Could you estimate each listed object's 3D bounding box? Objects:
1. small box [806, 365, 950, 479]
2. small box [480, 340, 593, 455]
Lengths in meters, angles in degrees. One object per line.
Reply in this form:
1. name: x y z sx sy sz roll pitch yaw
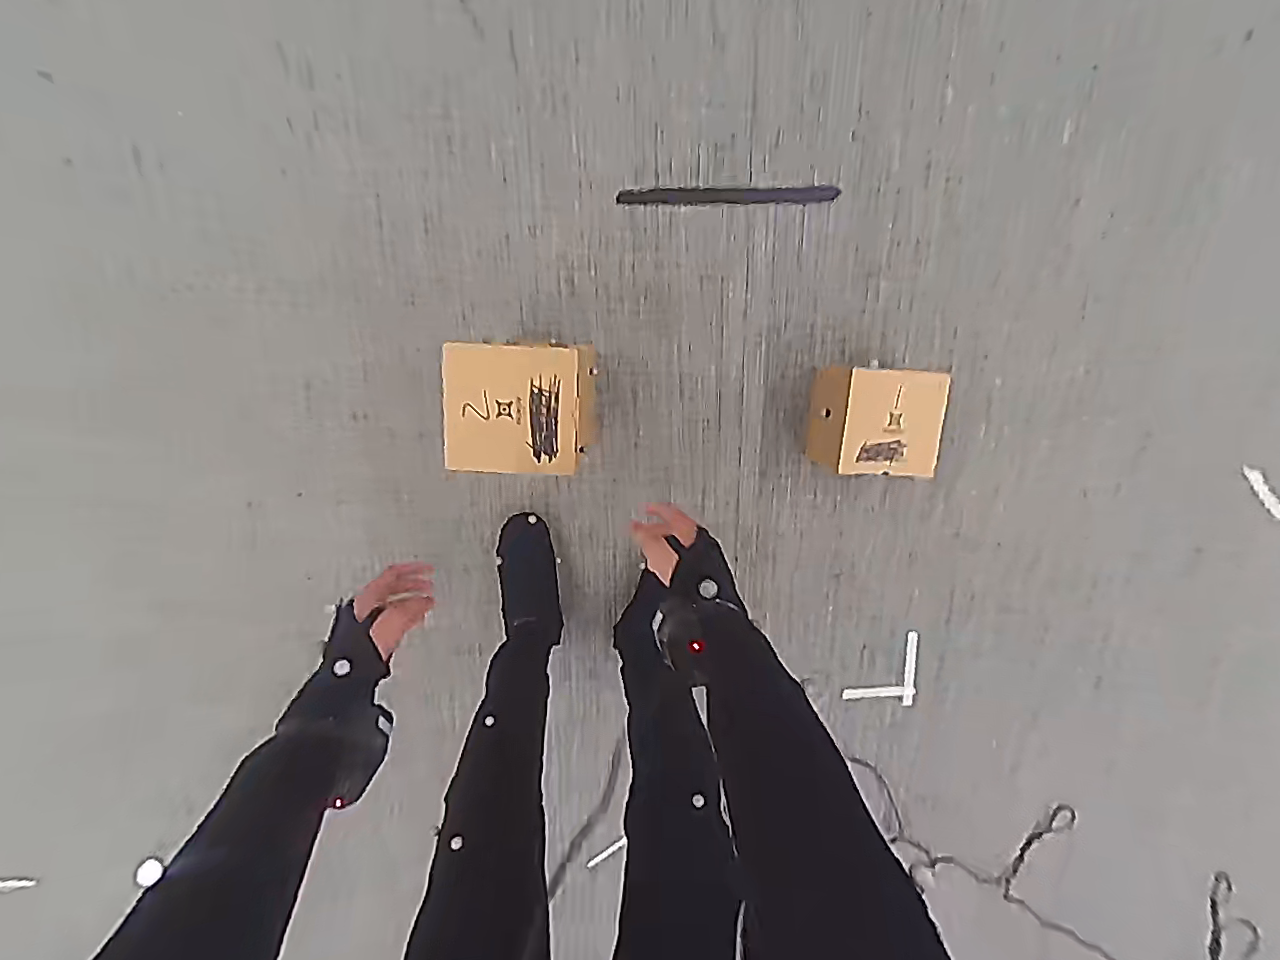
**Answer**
1. small box: 0.404 -0.108 0.950 0.168 0.176 0.179 3 102 -3
2. small box: -0.169 -0.145 0.927 0.168 0.176 0.179 2 102 -2
